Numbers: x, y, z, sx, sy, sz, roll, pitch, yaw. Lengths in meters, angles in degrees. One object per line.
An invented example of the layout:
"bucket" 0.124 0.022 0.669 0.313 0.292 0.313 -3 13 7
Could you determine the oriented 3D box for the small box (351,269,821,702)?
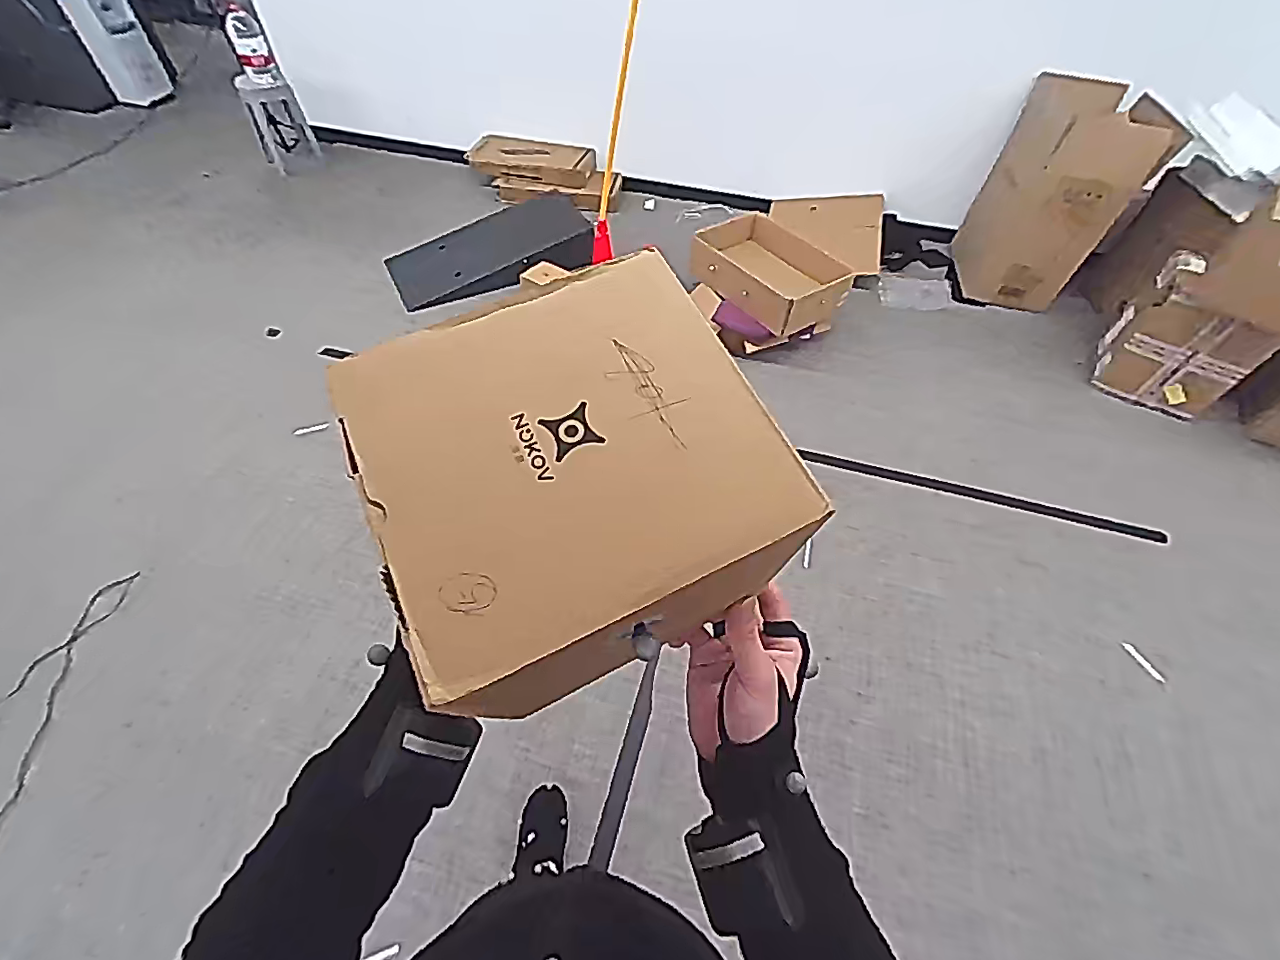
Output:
"small box" -0.031 0.017 0.323 0.179 0.176 0.168 -24 69 -12
